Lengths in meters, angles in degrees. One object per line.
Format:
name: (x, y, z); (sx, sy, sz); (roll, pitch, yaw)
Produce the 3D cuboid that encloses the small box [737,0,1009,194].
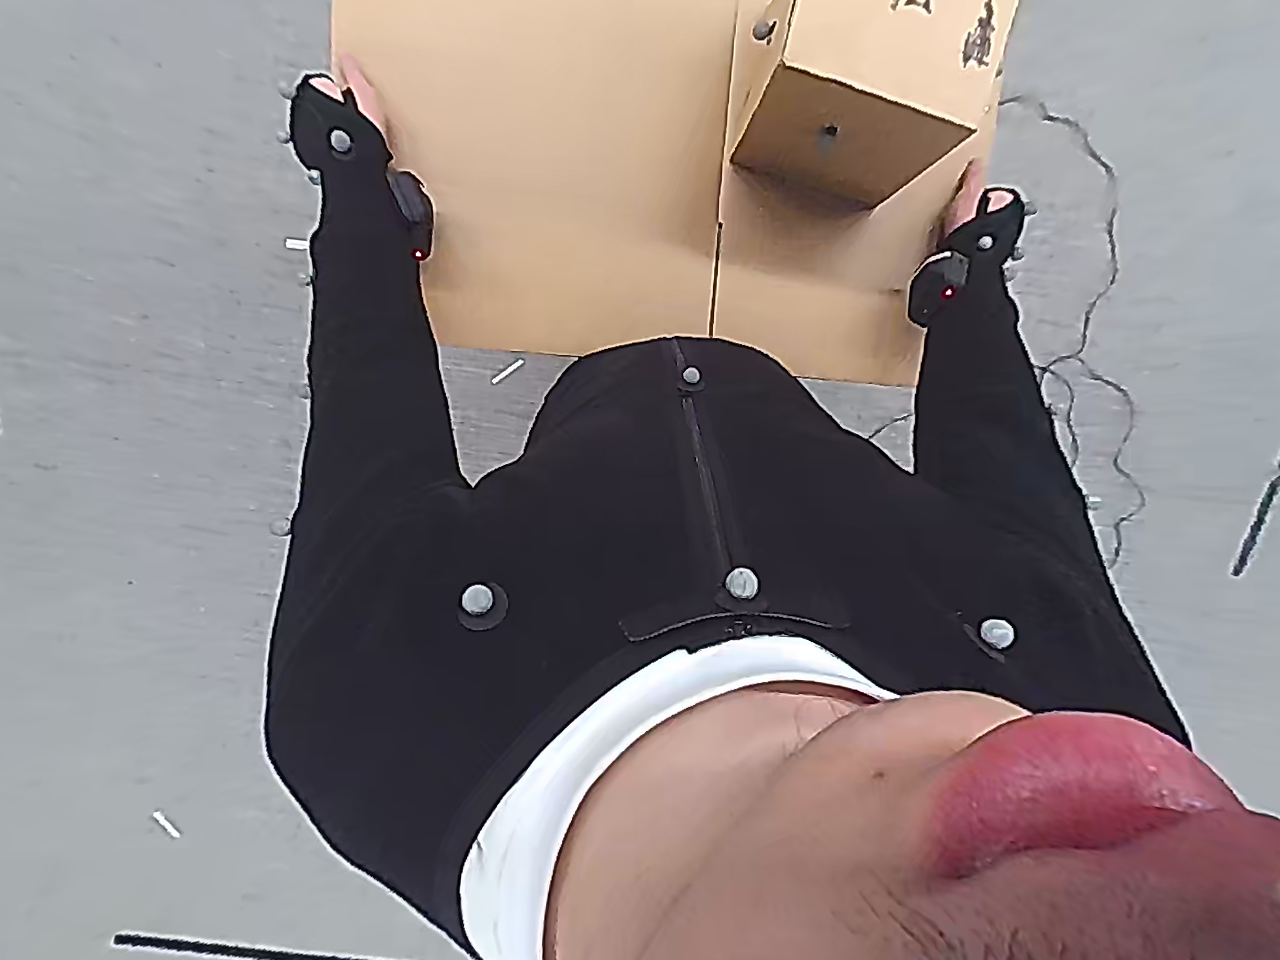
small box: (0.206, -0.400, 0.509); (0.179, 0.176, 0.168); (14, 97, -5)
